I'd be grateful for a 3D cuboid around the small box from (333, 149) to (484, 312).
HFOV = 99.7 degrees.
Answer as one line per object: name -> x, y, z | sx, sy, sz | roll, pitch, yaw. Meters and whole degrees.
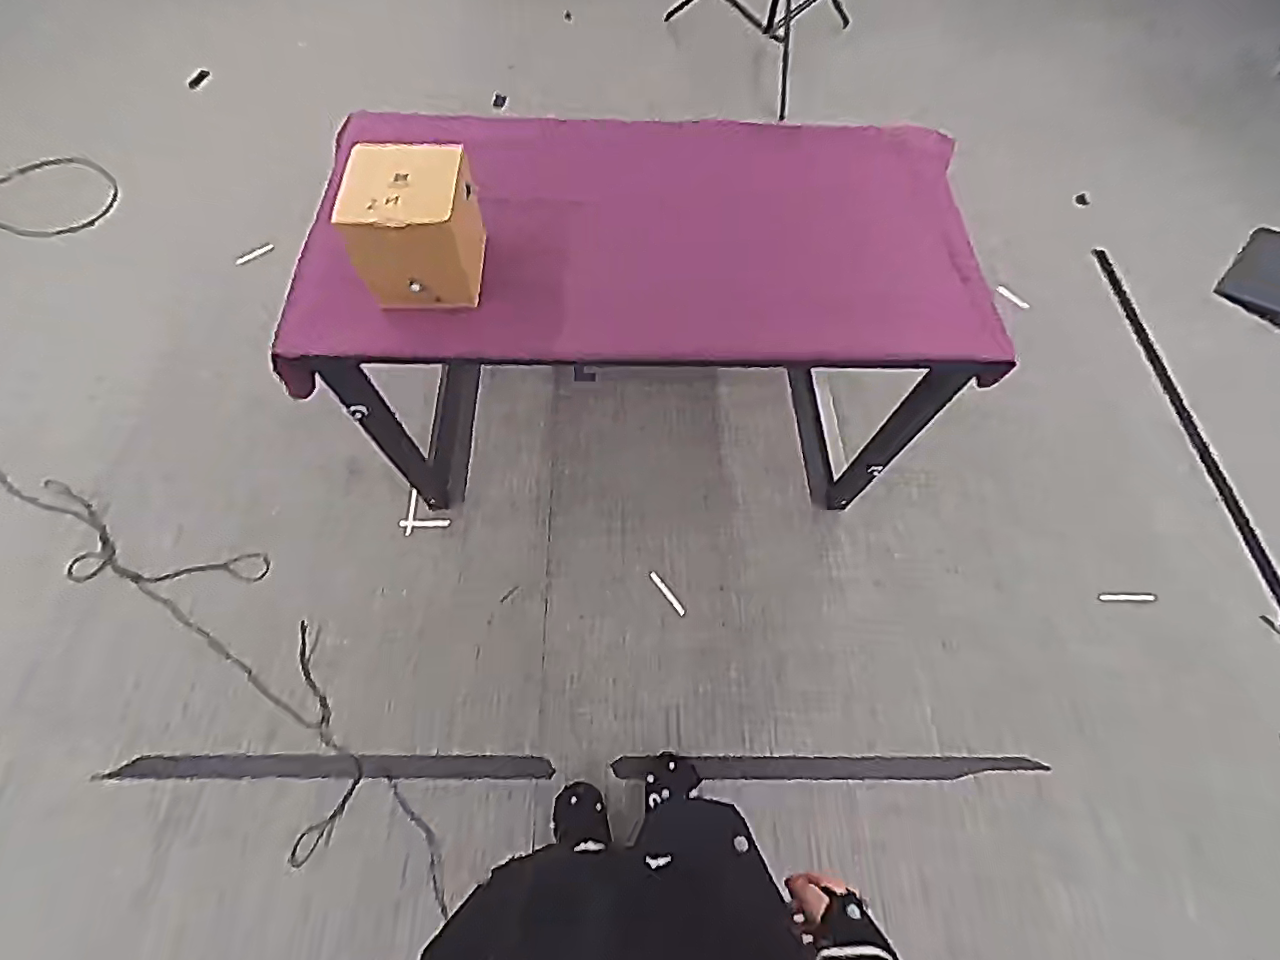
small box -> -0.353, -0.395, 0.864 | 0.168, 0.176, 0.179 | -1, 64, -2
